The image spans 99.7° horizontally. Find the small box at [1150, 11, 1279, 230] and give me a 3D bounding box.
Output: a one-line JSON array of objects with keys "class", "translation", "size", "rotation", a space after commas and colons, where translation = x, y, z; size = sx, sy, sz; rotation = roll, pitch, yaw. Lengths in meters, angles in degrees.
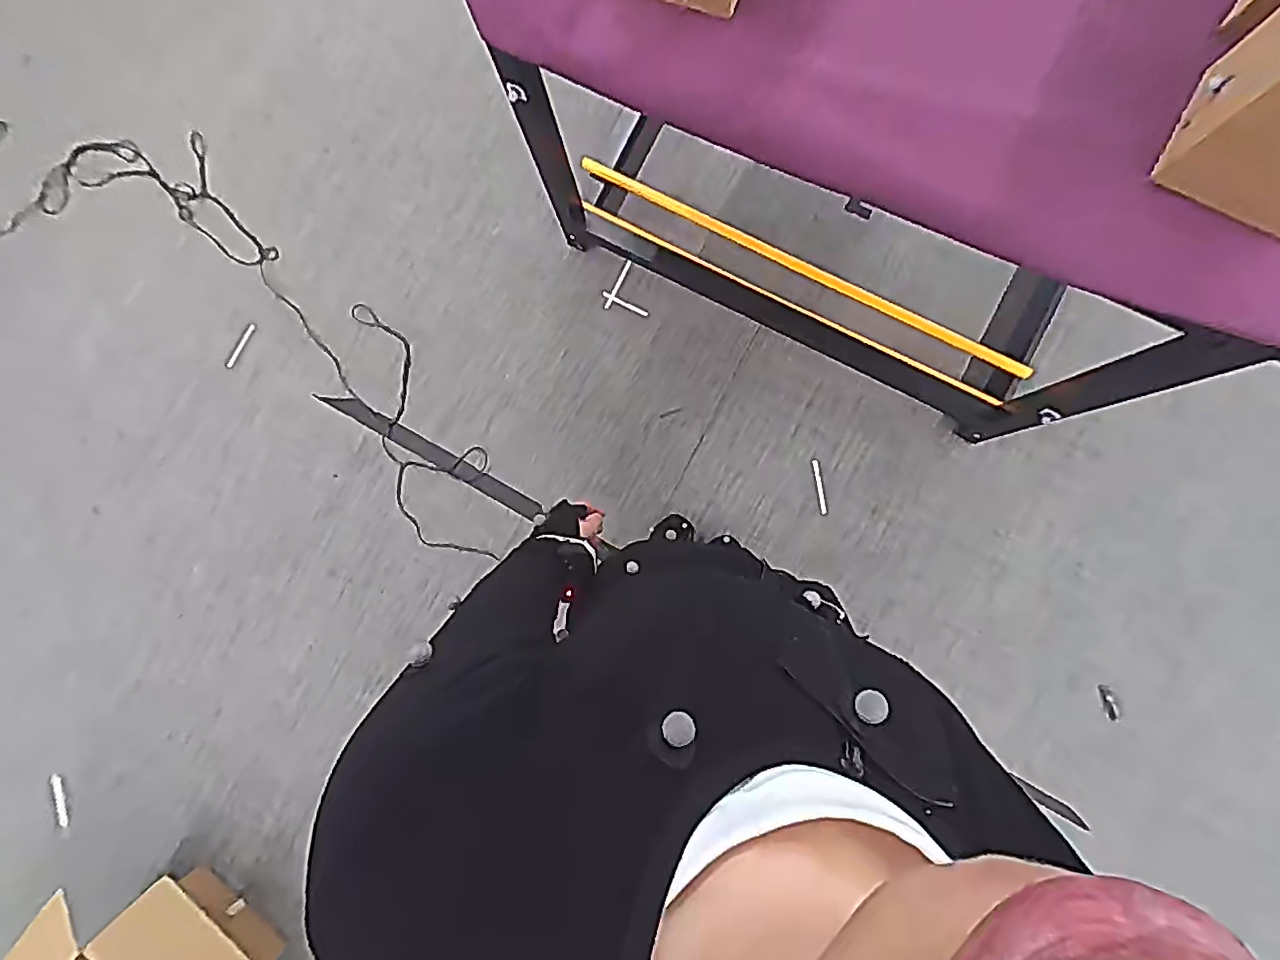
[{"class": "small box", "translation": [0.724, -0.402, 0.574], "size": [0.179, 0.176, 0.168], "rotation": [30, 87, 6]}]
